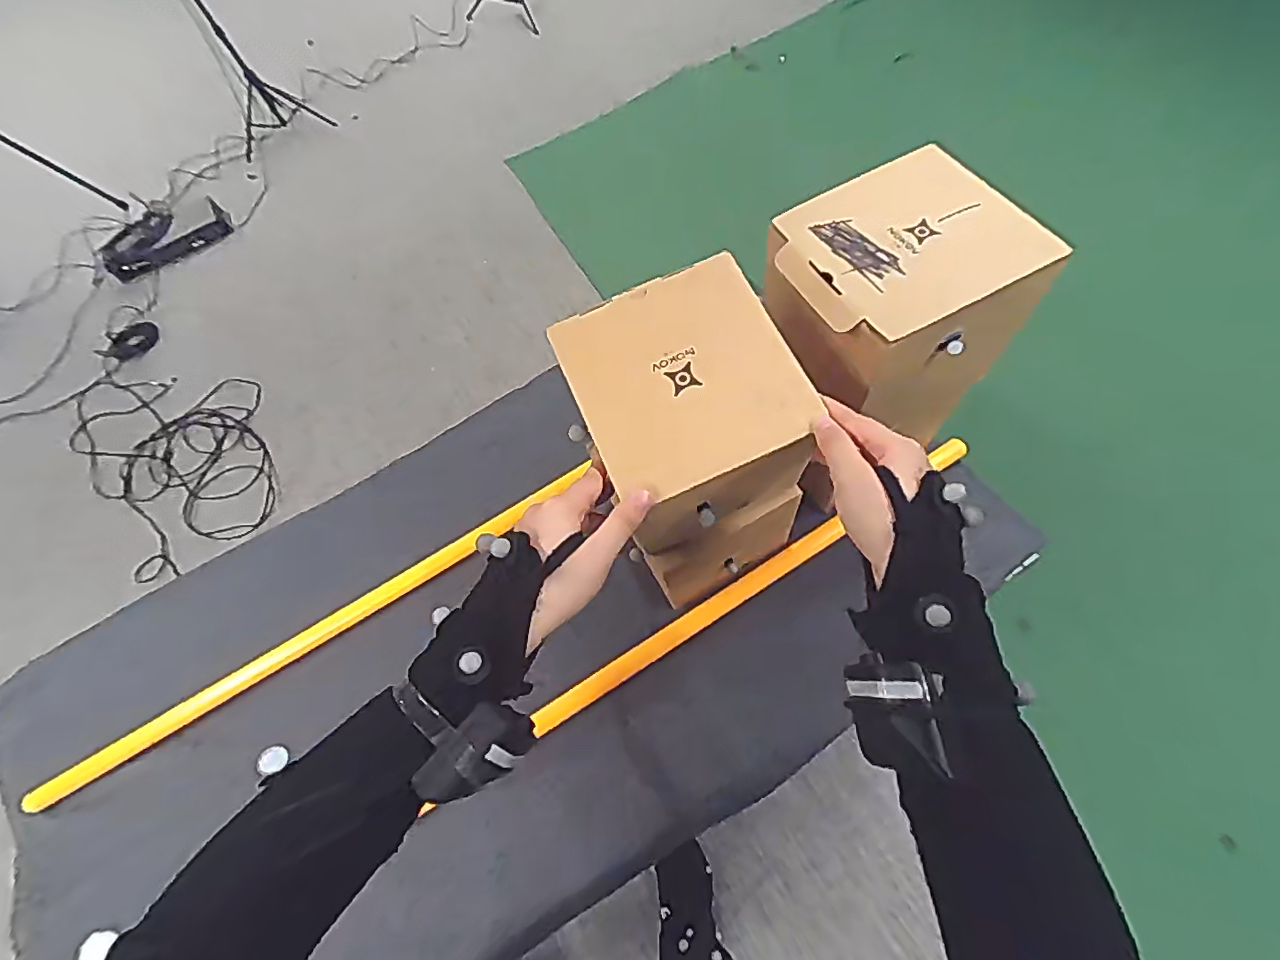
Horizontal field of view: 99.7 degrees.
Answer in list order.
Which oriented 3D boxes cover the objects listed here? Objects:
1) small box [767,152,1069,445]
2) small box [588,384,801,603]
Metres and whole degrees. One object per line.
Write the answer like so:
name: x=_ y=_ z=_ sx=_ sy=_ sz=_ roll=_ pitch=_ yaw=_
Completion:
small box: x=0.236 y=-0.162 z=0.518 sx=0.179 sy=0.176 sz=0.168 roll=-27 pitch=64 yaw=-6
small box: x=0.064 y=0.028 z=0.634 sx=0.168 sy=0.176 sz=0.179 roll=-28 pitch=64 yaw=-5
